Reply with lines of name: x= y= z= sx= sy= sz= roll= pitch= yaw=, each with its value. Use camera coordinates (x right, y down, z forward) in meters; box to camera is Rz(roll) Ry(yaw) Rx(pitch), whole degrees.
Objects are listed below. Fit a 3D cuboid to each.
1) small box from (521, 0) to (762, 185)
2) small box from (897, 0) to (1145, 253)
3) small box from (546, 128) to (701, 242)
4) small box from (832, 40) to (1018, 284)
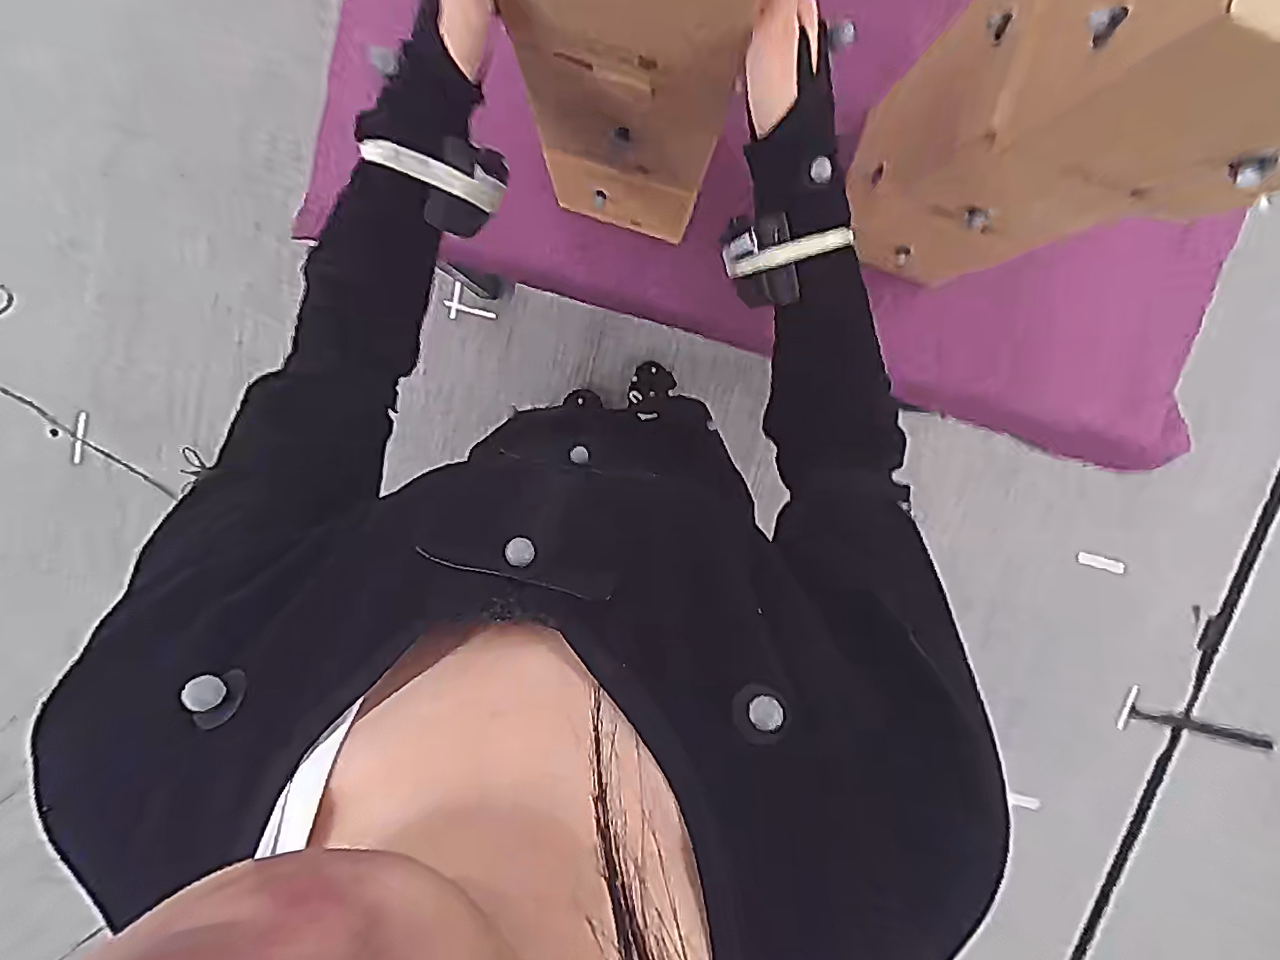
small box: x=0.010 y=-0.385 z=0.462 sx=0.168 sy=0.176 sz=0.179 roll=13 pitch=98 yaw=-4
small box: x=0.367 y=-0.334 z=0.486 sx=0.168 sy=0.176 sz=0.179 roll=18 pitch=98 yaw=-5
small box: x=0.002 y=-0.402 z=0.625 sx=0.168 sy=0.176 sz=0.179 roll=16 pitch=96 yaw=-5
small box: x=0.355 y=-0.356 z=0.649 sx=0.168 sy=0.176 sz=0.179 roll=18 pitch=97 yaw=-6
